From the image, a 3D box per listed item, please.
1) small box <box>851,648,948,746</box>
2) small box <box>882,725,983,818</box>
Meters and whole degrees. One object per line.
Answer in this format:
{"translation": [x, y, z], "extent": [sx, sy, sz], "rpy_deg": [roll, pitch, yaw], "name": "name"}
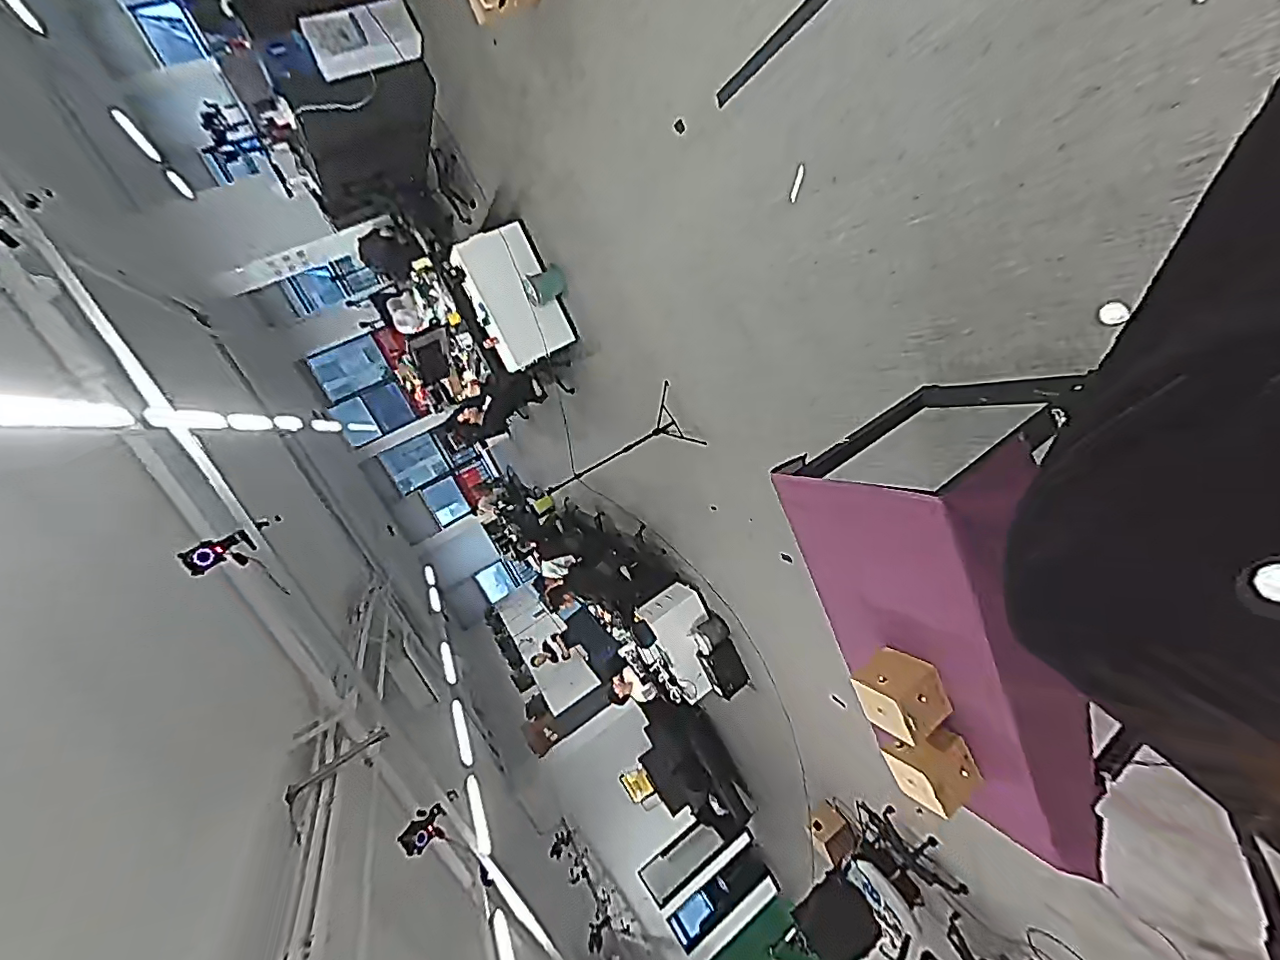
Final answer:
{"translation": [0.760, 0.619, 1.569], "extent": [0.168, 0.176, 0.179], "rpy_deg": [64, 161, -13], "name": "small box"}
{"translation": [0.879, 0.855, 1.626], "extent": [0.168, 0.176, 0.179], "rpy_deg": [61, 162, -7], "name": "small box"}
